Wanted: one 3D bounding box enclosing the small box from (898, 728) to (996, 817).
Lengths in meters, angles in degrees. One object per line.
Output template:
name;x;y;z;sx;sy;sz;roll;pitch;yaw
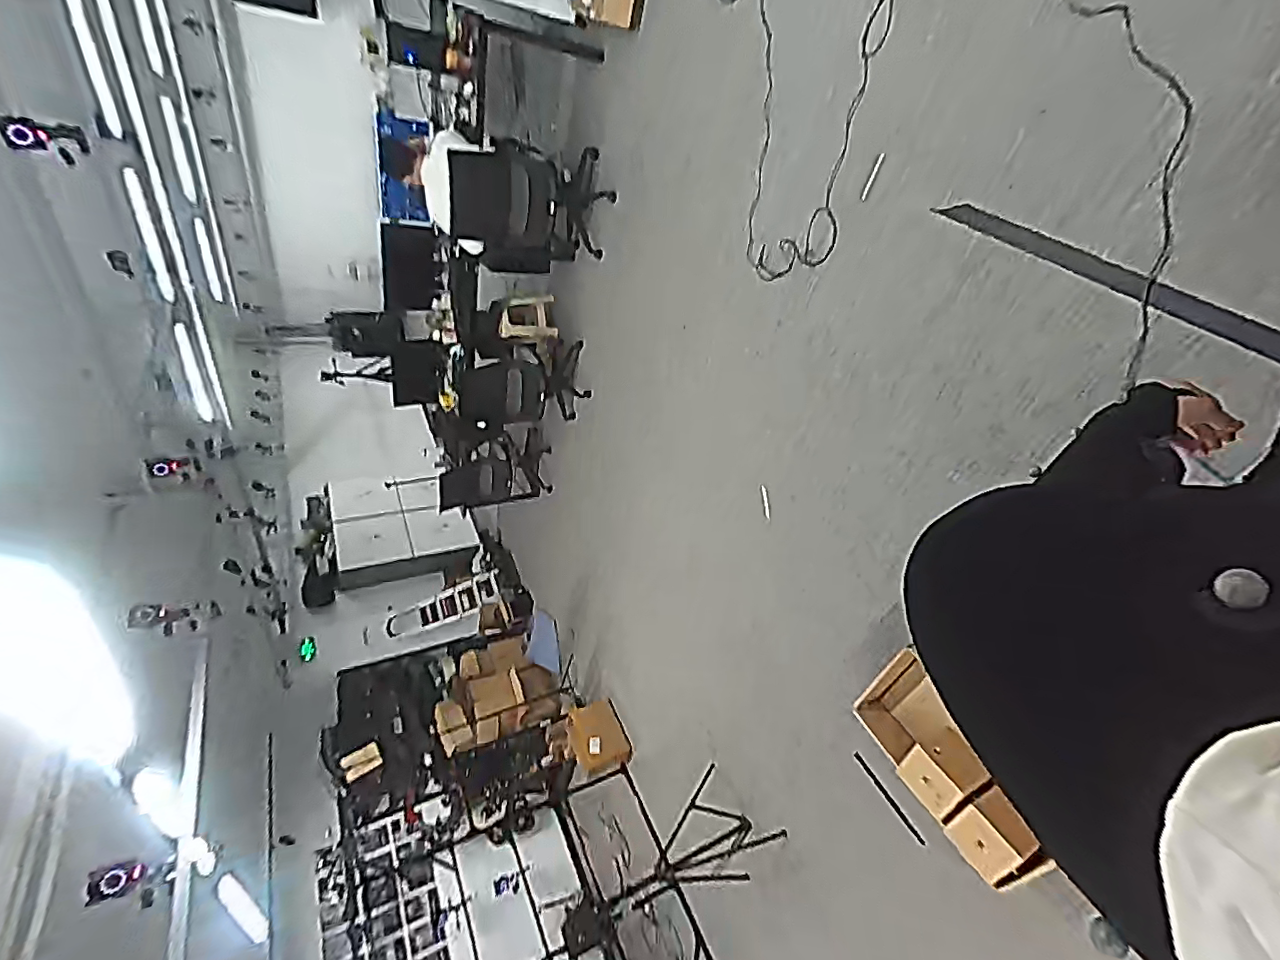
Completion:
small box;0.980;0.925;1.731;0.179;0.176;0.168;51;139;44
